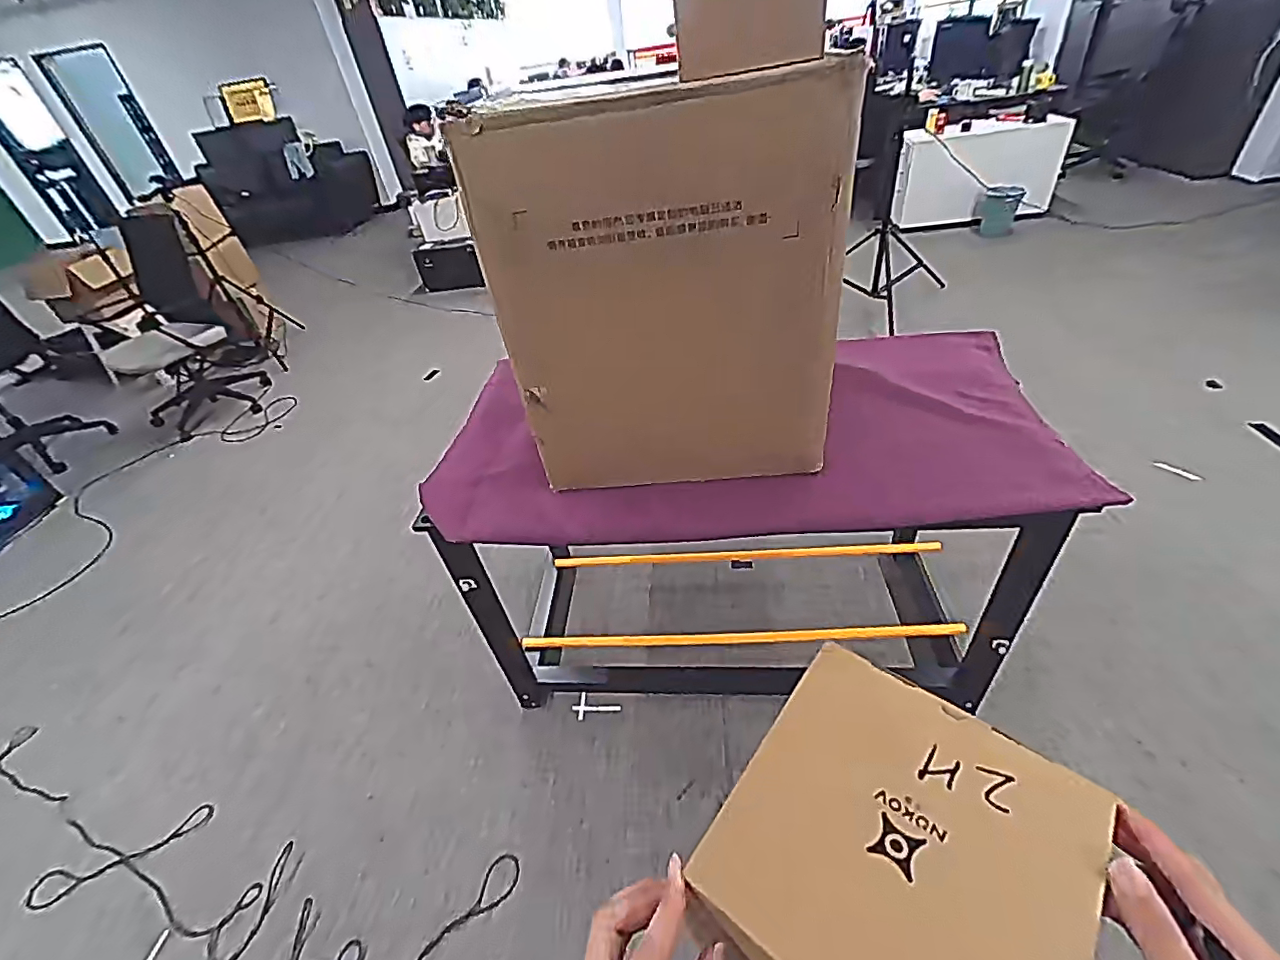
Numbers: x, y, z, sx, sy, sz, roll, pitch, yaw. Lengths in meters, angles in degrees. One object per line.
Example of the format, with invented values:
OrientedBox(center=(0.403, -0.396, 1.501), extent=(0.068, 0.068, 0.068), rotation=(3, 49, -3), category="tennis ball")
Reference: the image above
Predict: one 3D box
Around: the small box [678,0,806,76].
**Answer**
OrientedBox(center=(0.144, -0.711, 0.794), extent=(0.179, 0.176, 0.168), rotation=(-4, 39, 7), category="small box")
